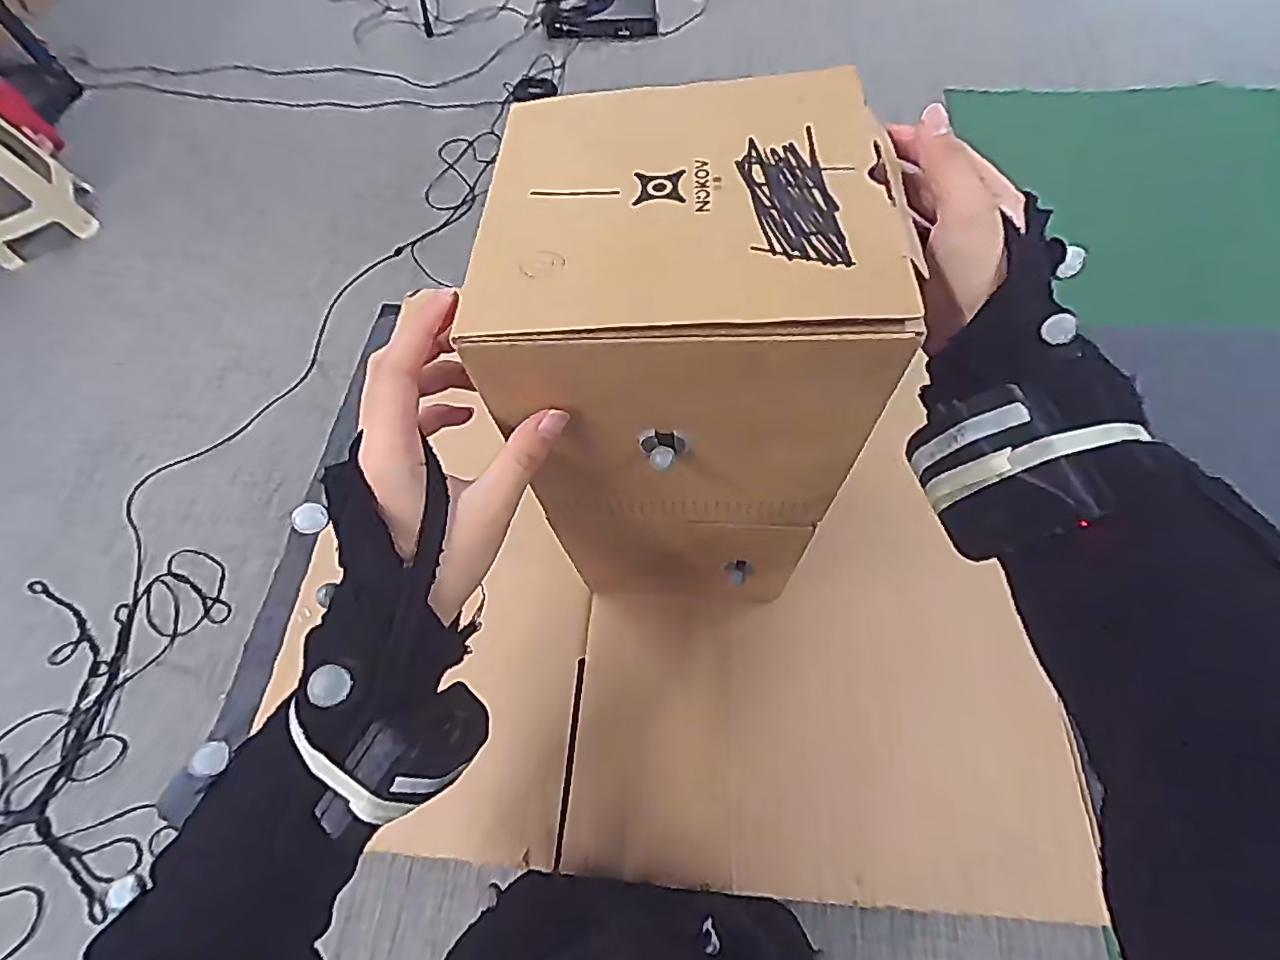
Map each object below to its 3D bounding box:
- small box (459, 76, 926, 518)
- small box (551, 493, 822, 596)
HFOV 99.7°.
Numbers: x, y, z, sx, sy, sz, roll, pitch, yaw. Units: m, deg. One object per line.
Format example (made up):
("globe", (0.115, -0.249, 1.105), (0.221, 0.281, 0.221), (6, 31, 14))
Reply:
("small box", (0.027, -0.086, 0.306), (0.179, 0.176, 0.168), (-1, 62, 6))
("small box", (0.039, -0.007, 0.450), (0.179, 0.176, 0.168), (0, 62, 6))
